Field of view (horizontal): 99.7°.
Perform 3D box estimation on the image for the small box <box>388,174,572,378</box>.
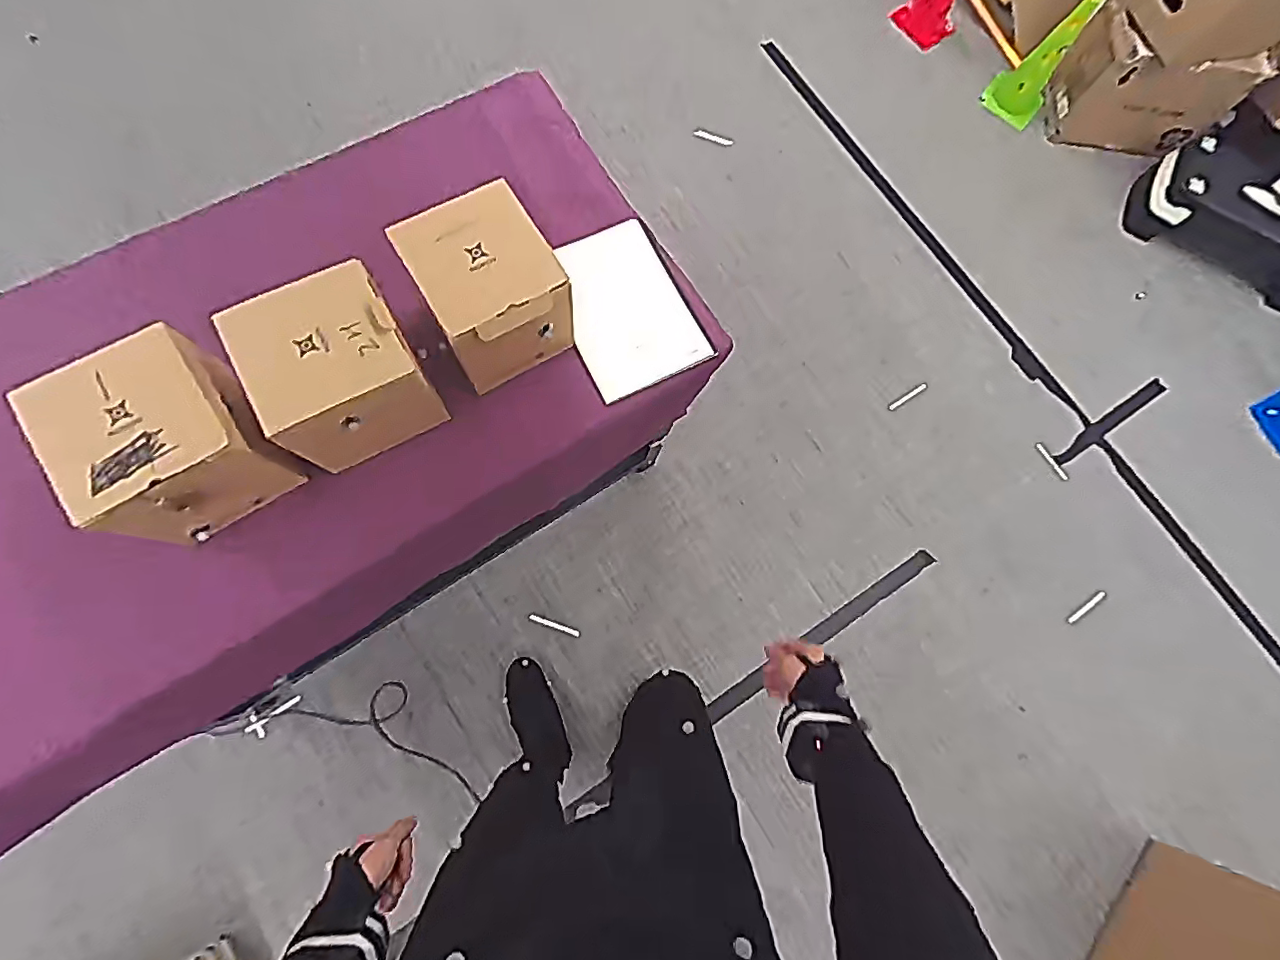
[{"bbox_3d":[-0.202,-0.260,0.736,0.168,0.176,0.179,-30,81,-12],"label":"small box"}]
